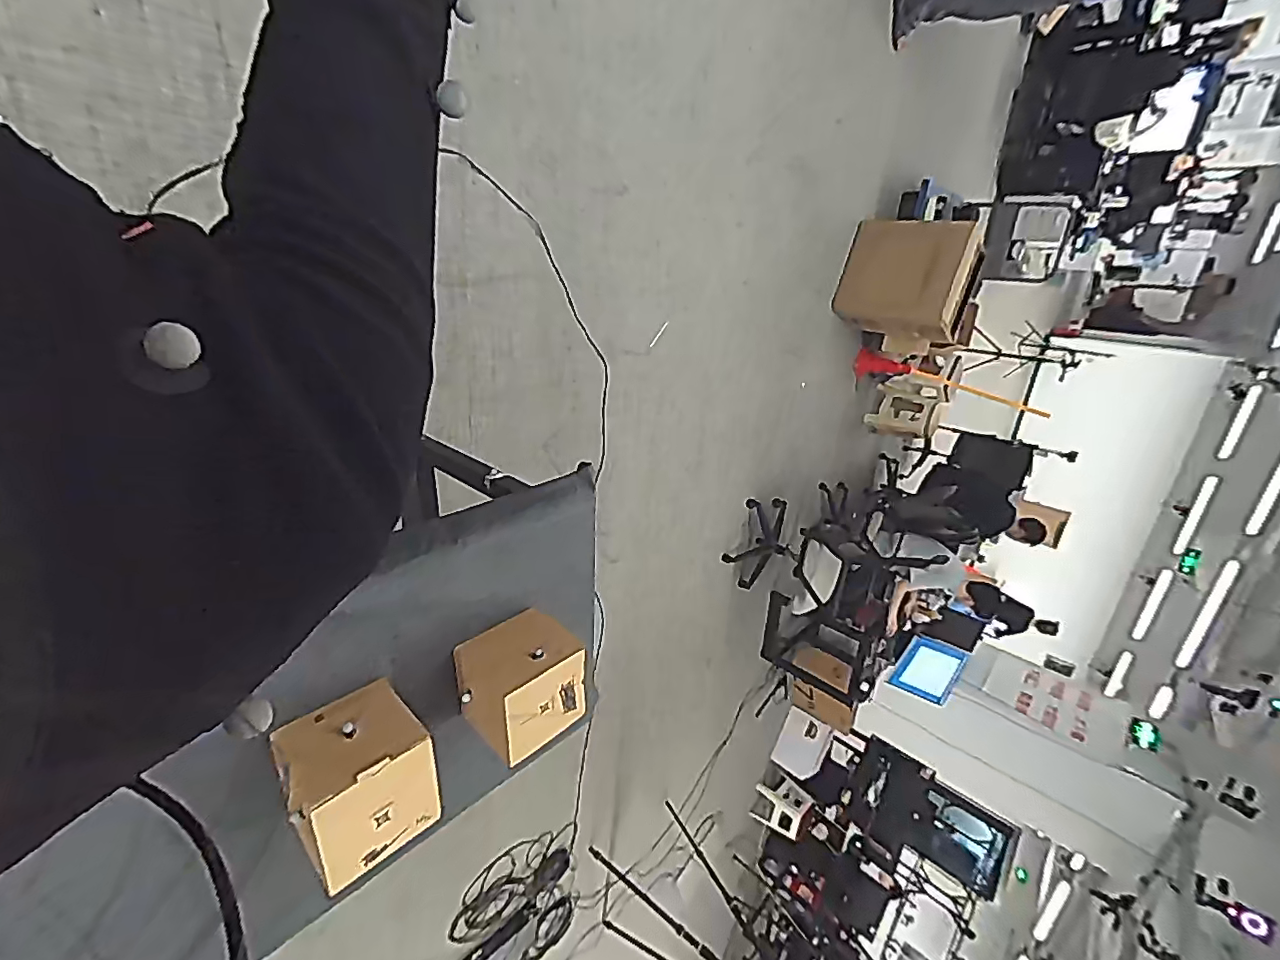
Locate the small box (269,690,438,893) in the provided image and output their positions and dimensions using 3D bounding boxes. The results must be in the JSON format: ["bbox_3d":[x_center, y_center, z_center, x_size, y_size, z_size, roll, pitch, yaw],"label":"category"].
[{"bbox_3d":[-0.431,0.449,0.817,0.168,0.176,0.179,-20,121,-44],"label":"small box"}]

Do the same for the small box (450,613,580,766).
[{"bbox_3d":[-0.232,0.381,1.022,0.179,0.176,0.168,-21,122,-42],"label":"small box"}]
